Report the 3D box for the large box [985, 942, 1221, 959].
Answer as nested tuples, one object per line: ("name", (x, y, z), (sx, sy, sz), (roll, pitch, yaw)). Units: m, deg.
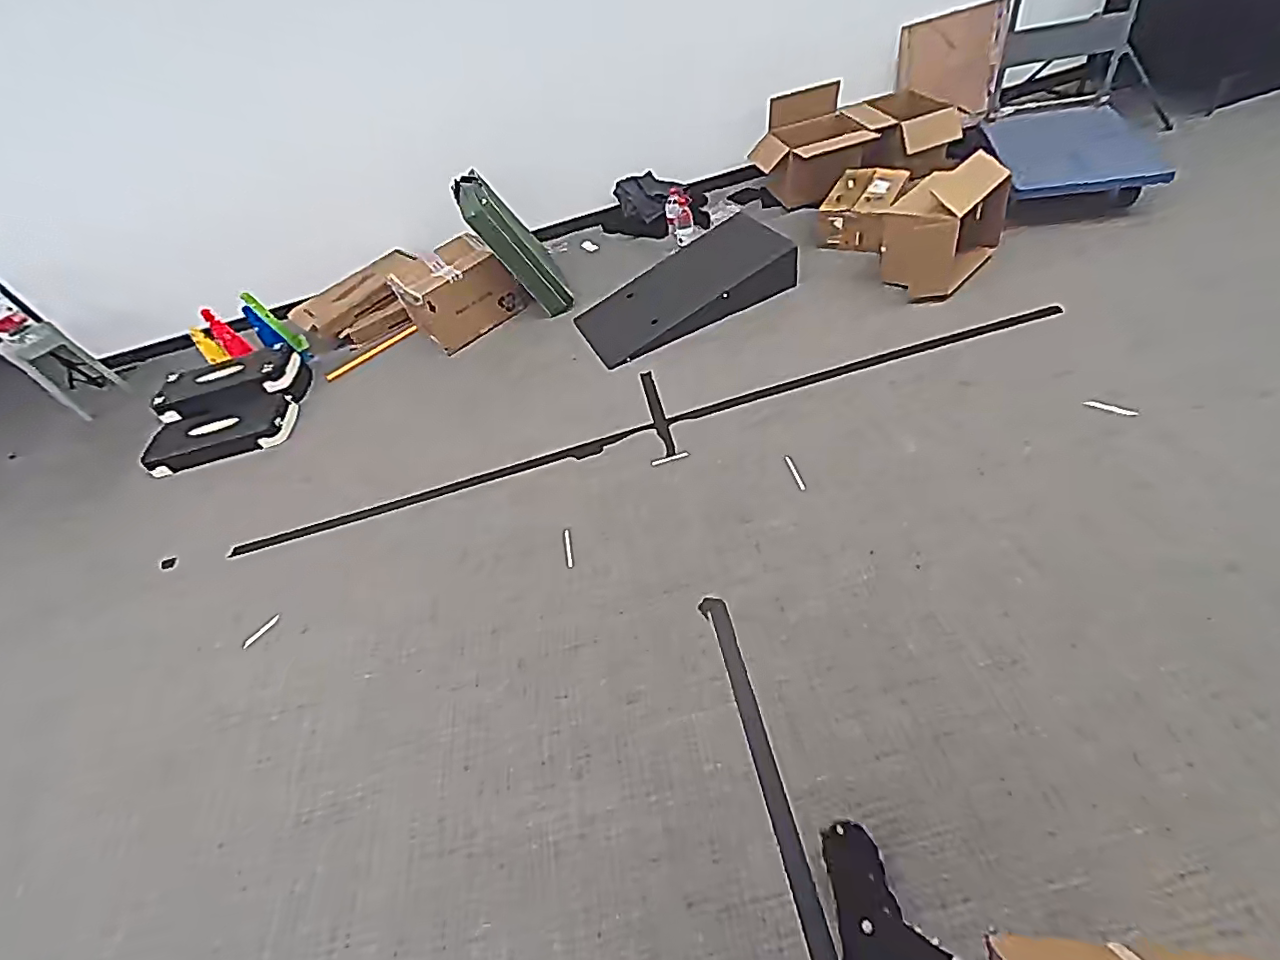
("large box", (0.608, 0.738, 0.513), (0.320, 0.408, 0.320), (-2, 74, 9))
